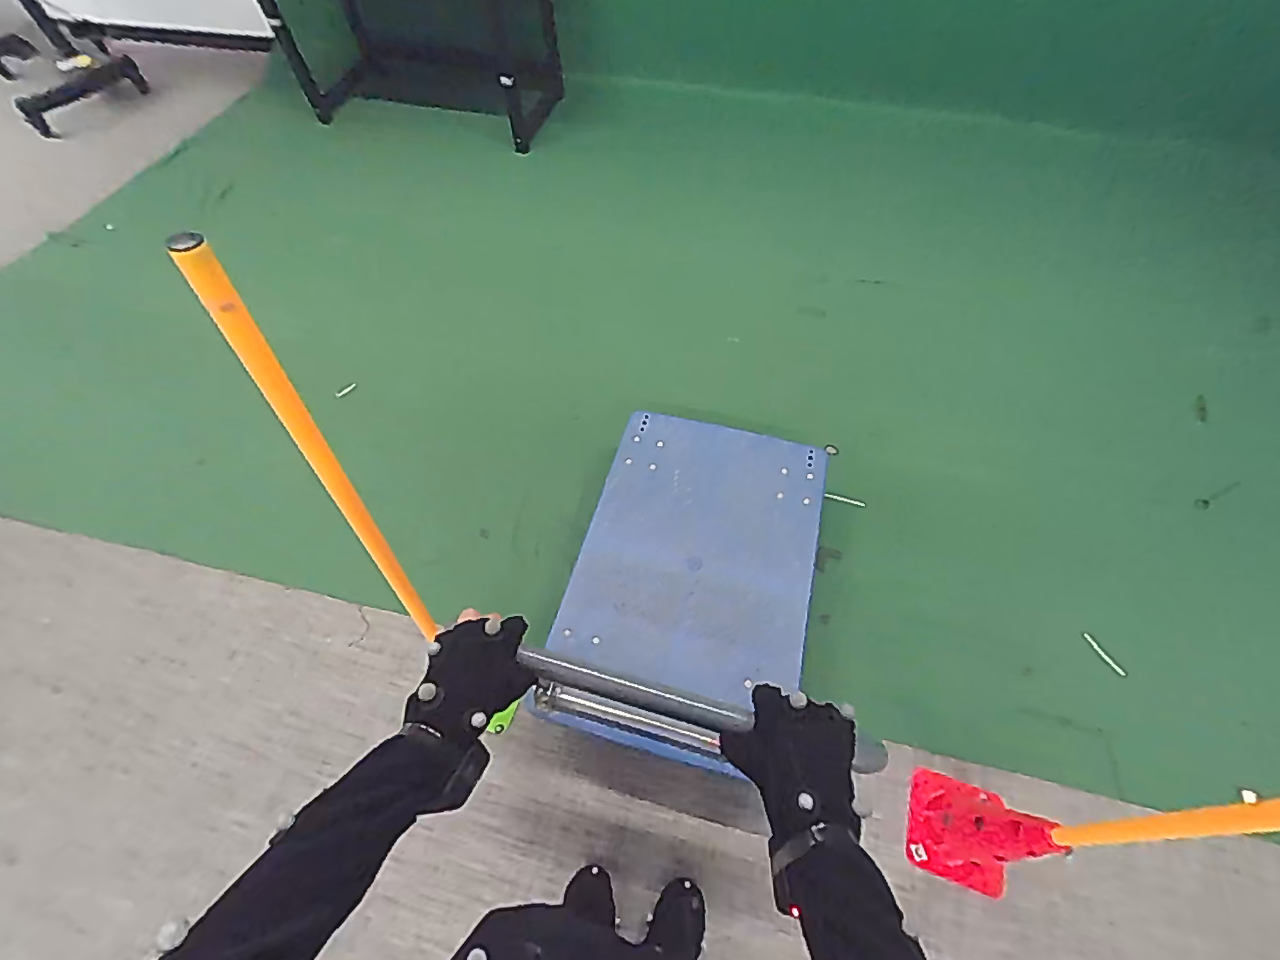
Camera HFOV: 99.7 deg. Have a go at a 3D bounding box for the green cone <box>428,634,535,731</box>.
[{"bbox_3d":[-0.397,0.422,1.238,0.202,0.368,0.200,16,59,11],"label":"green cone"}]
